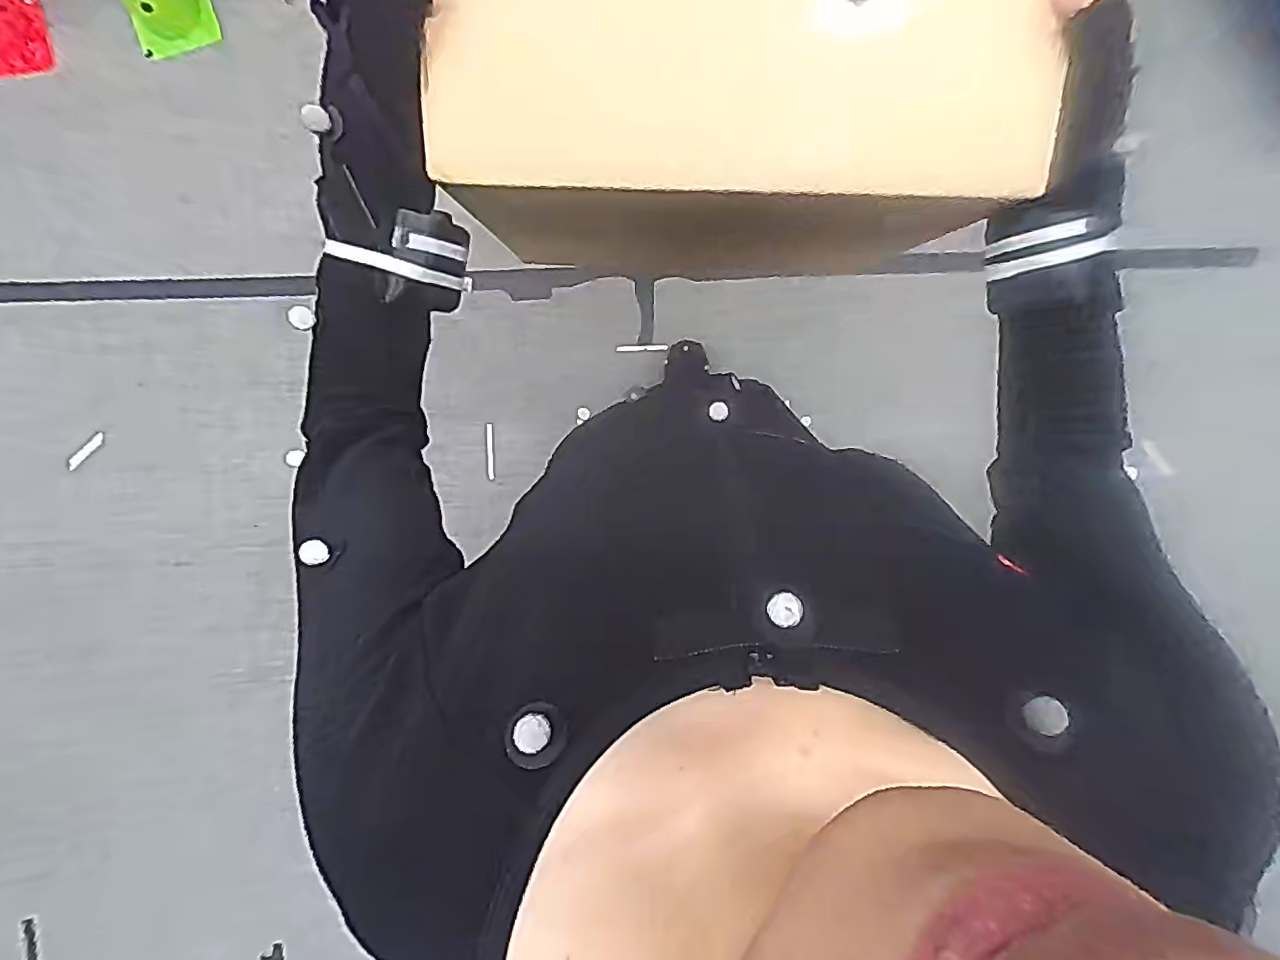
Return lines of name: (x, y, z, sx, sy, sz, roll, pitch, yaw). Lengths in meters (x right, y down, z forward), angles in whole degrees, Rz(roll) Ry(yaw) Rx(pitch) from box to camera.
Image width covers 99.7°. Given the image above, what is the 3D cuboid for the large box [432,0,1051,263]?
large box: (0.061, -0.385, 0.480, 0.408, 0.320, 0.320, 1, 102, -2)
